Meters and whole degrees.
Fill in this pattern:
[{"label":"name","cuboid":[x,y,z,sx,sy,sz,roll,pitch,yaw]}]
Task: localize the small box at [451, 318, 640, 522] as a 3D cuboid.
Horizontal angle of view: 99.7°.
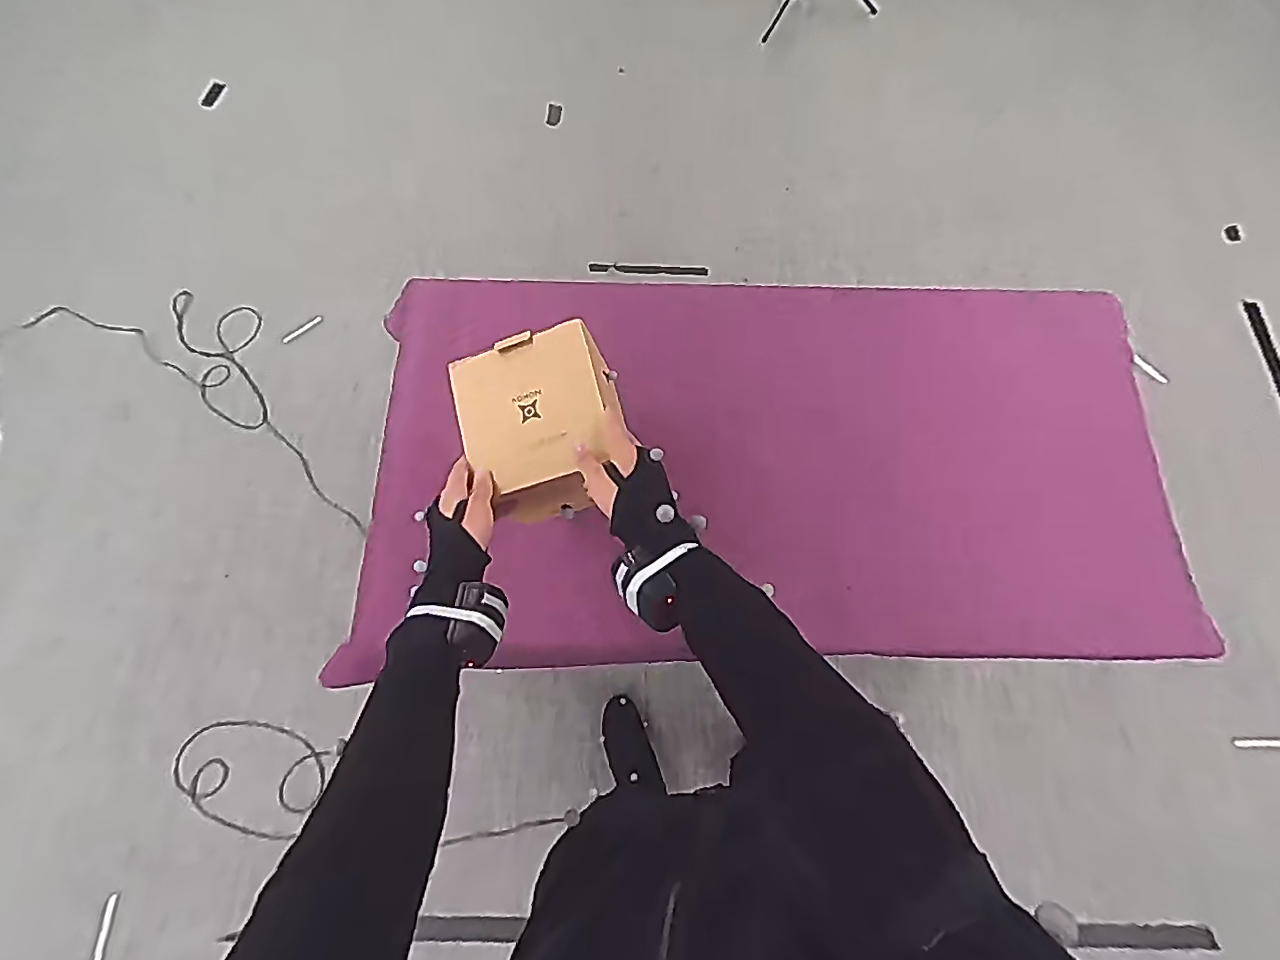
[{"label":"small box","cuboid":[-0.106,-0.061,0.663,0.168,0.176,0.179,-16,75,5]}]
